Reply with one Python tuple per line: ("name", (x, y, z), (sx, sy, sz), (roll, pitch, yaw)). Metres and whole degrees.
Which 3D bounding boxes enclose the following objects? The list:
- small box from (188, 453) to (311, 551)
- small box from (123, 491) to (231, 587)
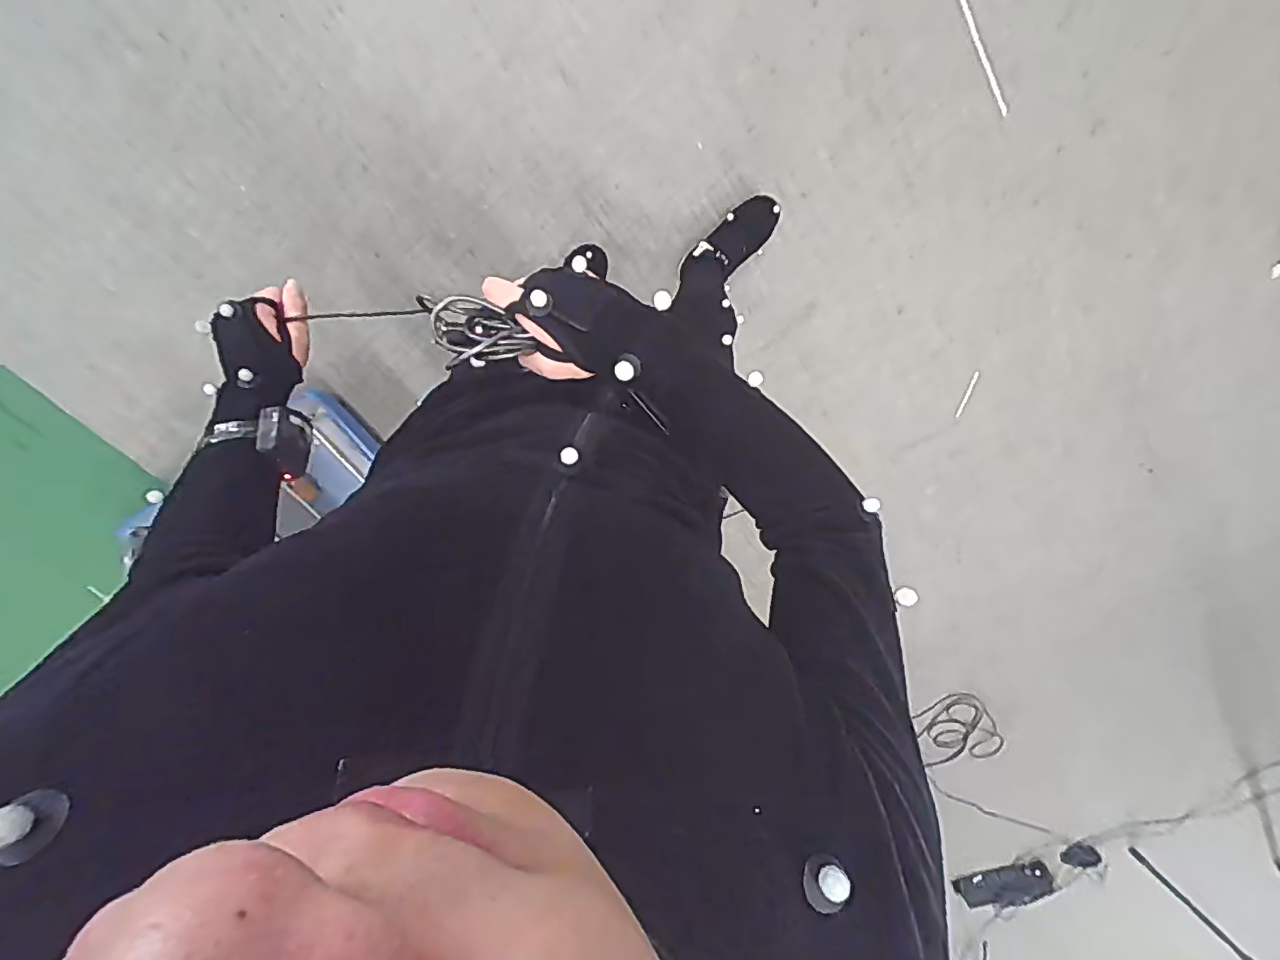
("small box", (-1.049, 0.057, 1.471), (0.179, 0.176, 0.168), (-26, 117, 14))
("small box", (-1.273, 0.164, 1.529), (0.179, 0.176, 0.168), (-29, 117, 14))
